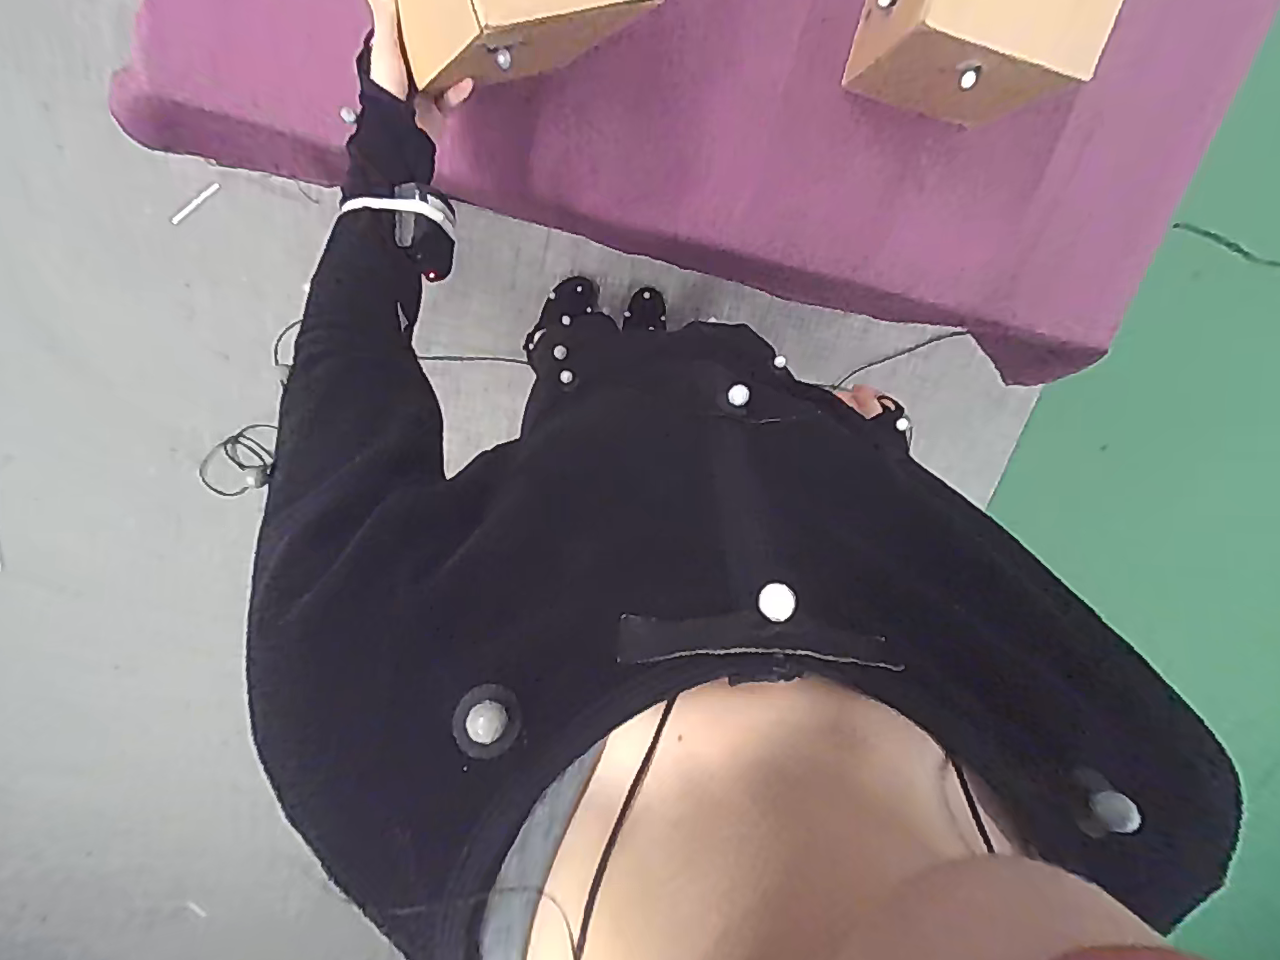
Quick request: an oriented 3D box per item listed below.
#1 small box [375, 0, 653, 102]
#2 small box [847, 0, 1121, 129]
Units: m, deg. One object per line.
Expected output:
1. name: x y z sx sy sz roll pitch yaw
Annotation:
1. small box: -0.112 -0.426 0.421 0.176 0.179 0.168 -34 122 -25
2. small box: 0.337 -0.478 0.535 0.179 0.176 0.168 11 108 -8
